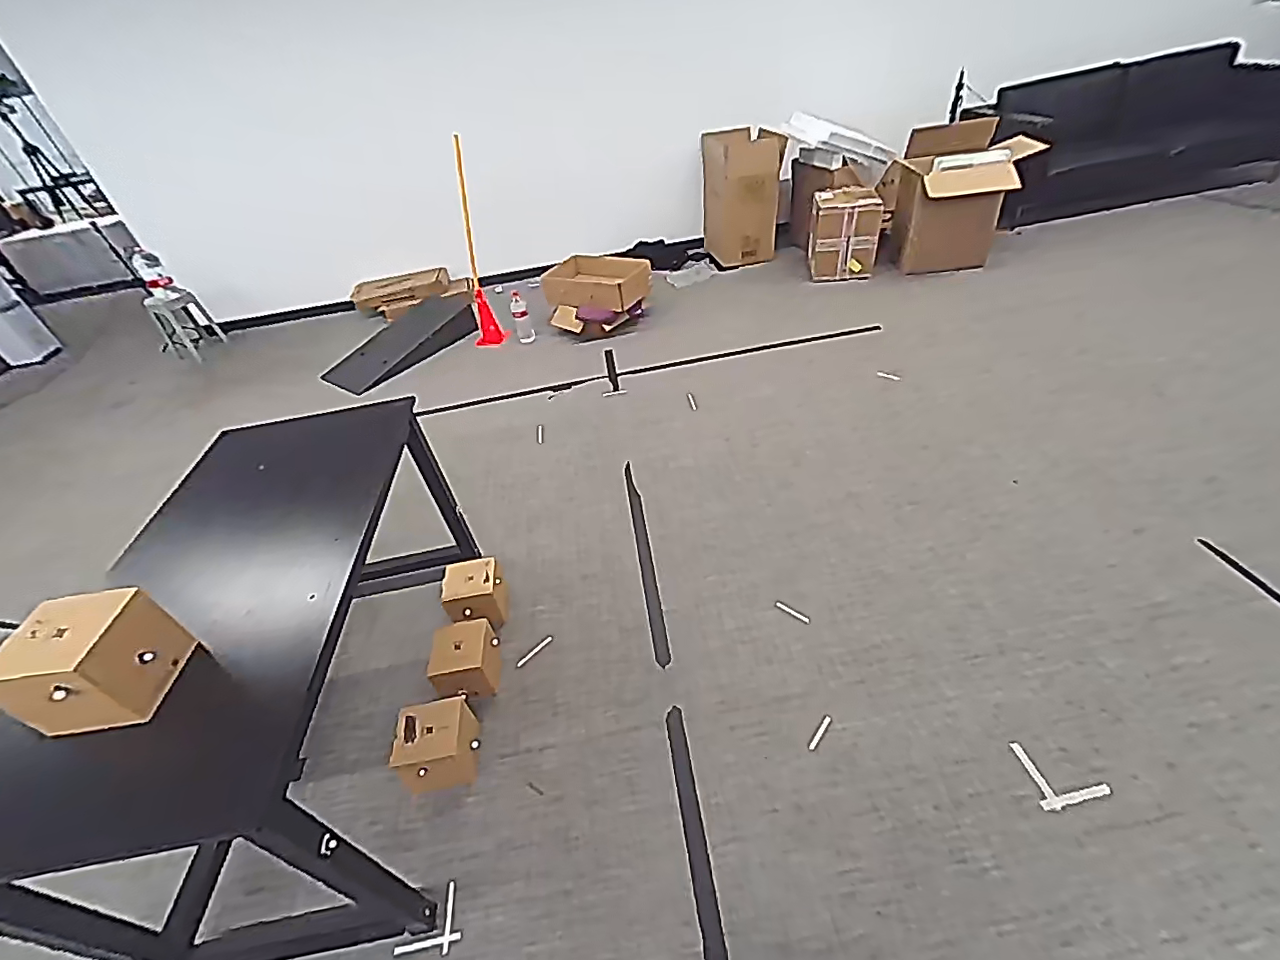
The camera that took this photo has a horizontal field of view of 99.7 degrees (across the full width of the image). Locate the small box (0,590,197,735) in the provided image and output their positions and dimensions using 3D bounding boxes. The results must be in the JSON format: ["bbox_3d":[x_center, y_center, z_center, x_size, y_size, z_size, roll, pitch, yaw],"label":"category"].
[{"bbox_3d":[-0.939,0.318,0.940,0.179,0.176,0.168,-9,39,1],"label":"small box"}]

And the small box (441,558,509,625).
[{"bbox_3d":[-0.574,0.407,1.903,0.179,0.176,0.168,-12,40,-2],"label":"small box"}]

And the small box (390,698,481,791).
[{"bbox_3d":[-0.561,0.739,1.505,0.179,0.176,0.168,-10,40,-2],"label":"small box"}]

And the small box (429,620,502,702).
[{"bbox_3d":[-0.542,0.573,1.701,0.168,0.176,0.179,-12,40,-1],"label":"small box"}]
